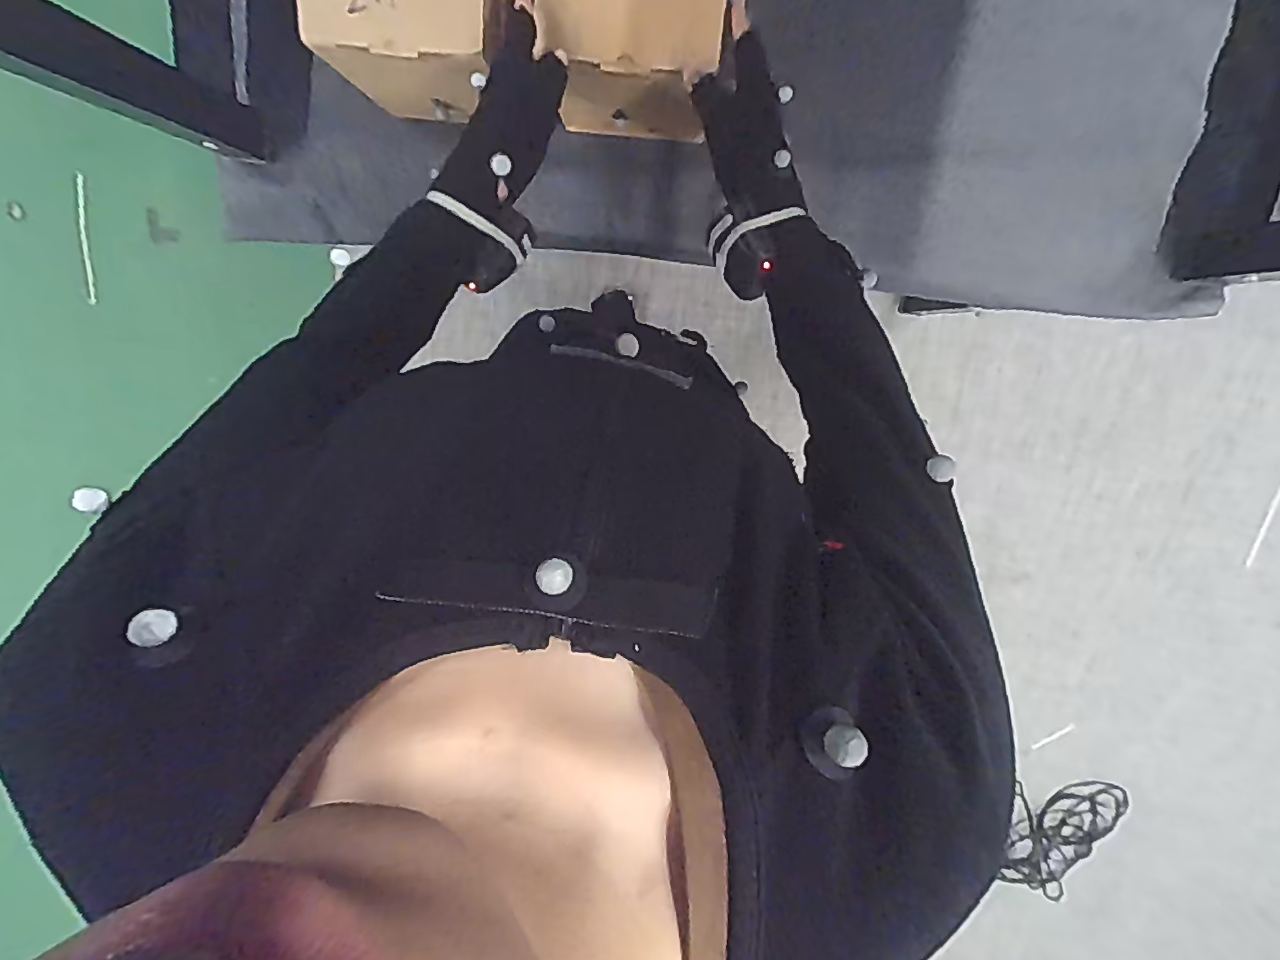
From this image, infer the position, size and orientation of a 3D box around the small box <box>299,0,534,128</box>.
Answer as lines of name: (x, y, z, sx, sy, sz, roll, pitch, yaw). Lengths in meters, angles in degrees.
small box: (-0.205, -0.483, 0.532, 0.168, 0.176, 0.179, 6, 105, 1)

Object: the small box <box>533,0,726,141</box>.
small box: (-0.002, -0.467, 0.531, 0.168, 0.176, 0.179, 6, 105, 2)
